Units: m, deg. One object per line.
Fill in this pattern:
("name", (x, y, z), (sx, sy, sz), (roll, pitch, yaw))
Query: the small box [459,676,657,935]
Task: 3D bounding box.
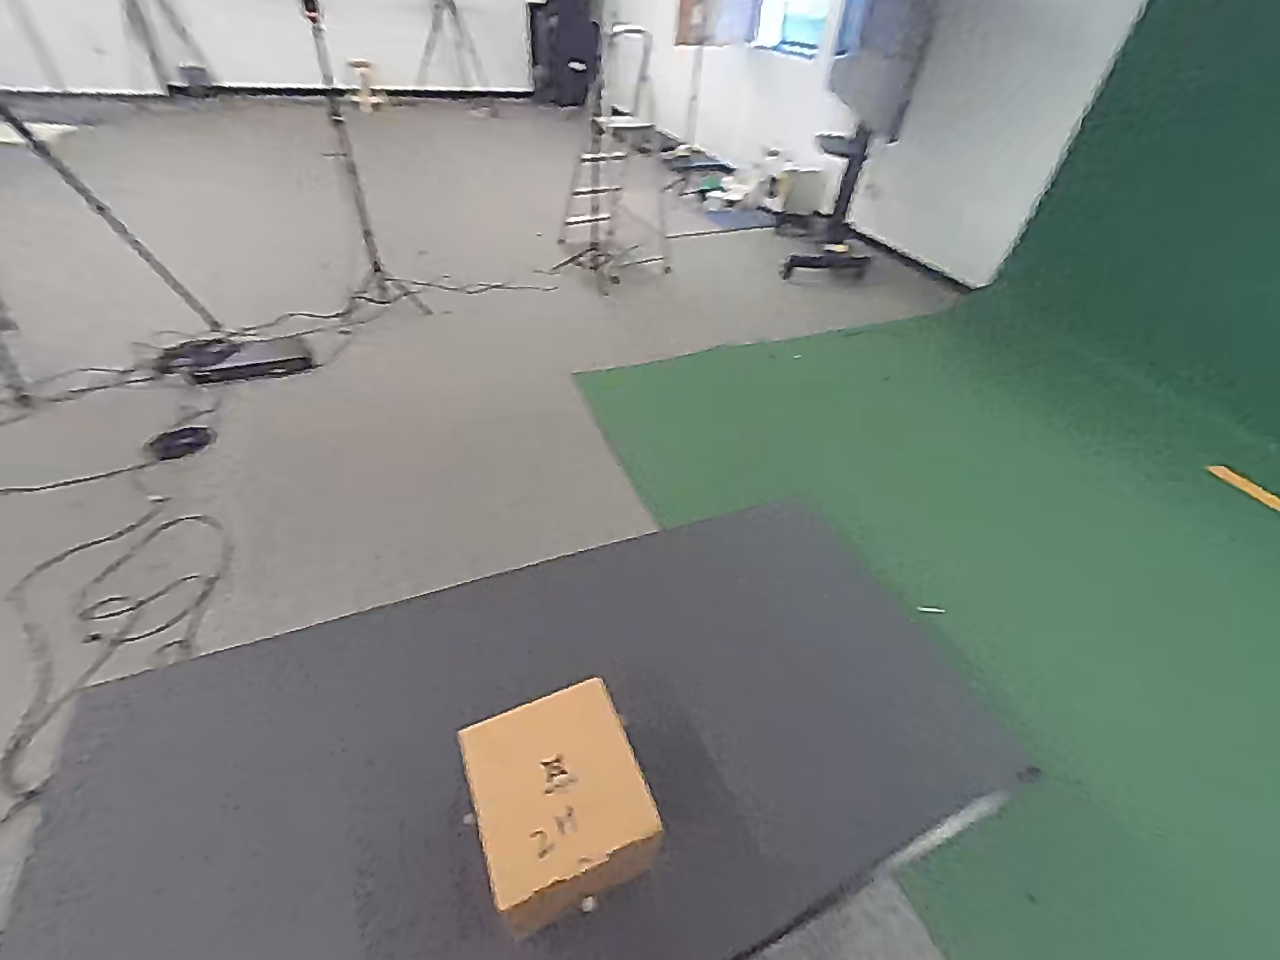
("small box", (-0.096, 0.364, 0.612), (0.168, 0.176, 0.179), (-15, 46, -21))
